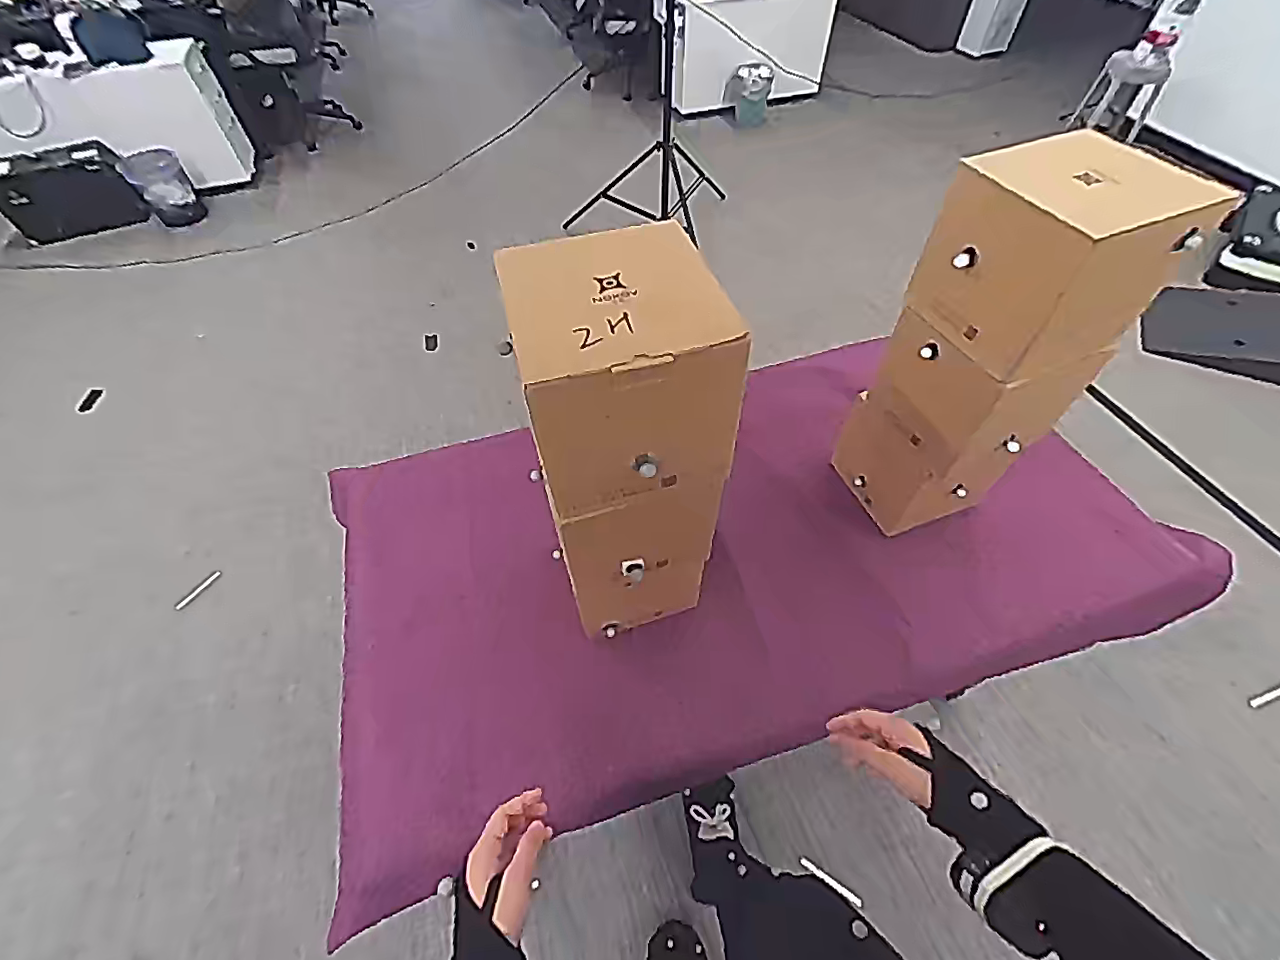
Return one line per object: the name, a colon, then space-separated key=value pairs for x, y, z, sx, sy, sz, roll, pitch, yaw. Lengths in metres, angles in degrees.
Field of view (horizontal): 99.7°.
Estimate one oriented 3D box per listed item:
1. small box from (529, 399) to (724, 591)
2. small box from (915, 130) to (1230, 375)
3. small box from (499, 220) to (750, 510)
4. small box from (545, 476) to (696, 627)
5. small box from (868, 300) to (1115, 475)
small box: x=-0.020 y=-0.001 z=0.618 sx=0.168 sy=0.176 sz=0.179 roll=-16 pitch=56 yaw=-9
small box: x=0.429 y=-0.239 z=0.580 sx=0.179 sy=0.176 sz=0.168 roll=-19 pitch=55 yaw=-12
small box: x=-0.019 y=-0.101 z=0.486 sx=0.168 sy=0.176 sz=0.179 roll=-14 pitch=54 yaw=-8
small box: x=-0.023 y=0.087 z=0.755 sx=0.168 sy=0.176 sz=0.179 roll=-15 pitch=54 yaw=-10
small box: x=0.436 y=-0.135 z=0.706 sx=0.179 sy=0.176 sz=0.168 roll=-19 pitch=55 yaw=-13
